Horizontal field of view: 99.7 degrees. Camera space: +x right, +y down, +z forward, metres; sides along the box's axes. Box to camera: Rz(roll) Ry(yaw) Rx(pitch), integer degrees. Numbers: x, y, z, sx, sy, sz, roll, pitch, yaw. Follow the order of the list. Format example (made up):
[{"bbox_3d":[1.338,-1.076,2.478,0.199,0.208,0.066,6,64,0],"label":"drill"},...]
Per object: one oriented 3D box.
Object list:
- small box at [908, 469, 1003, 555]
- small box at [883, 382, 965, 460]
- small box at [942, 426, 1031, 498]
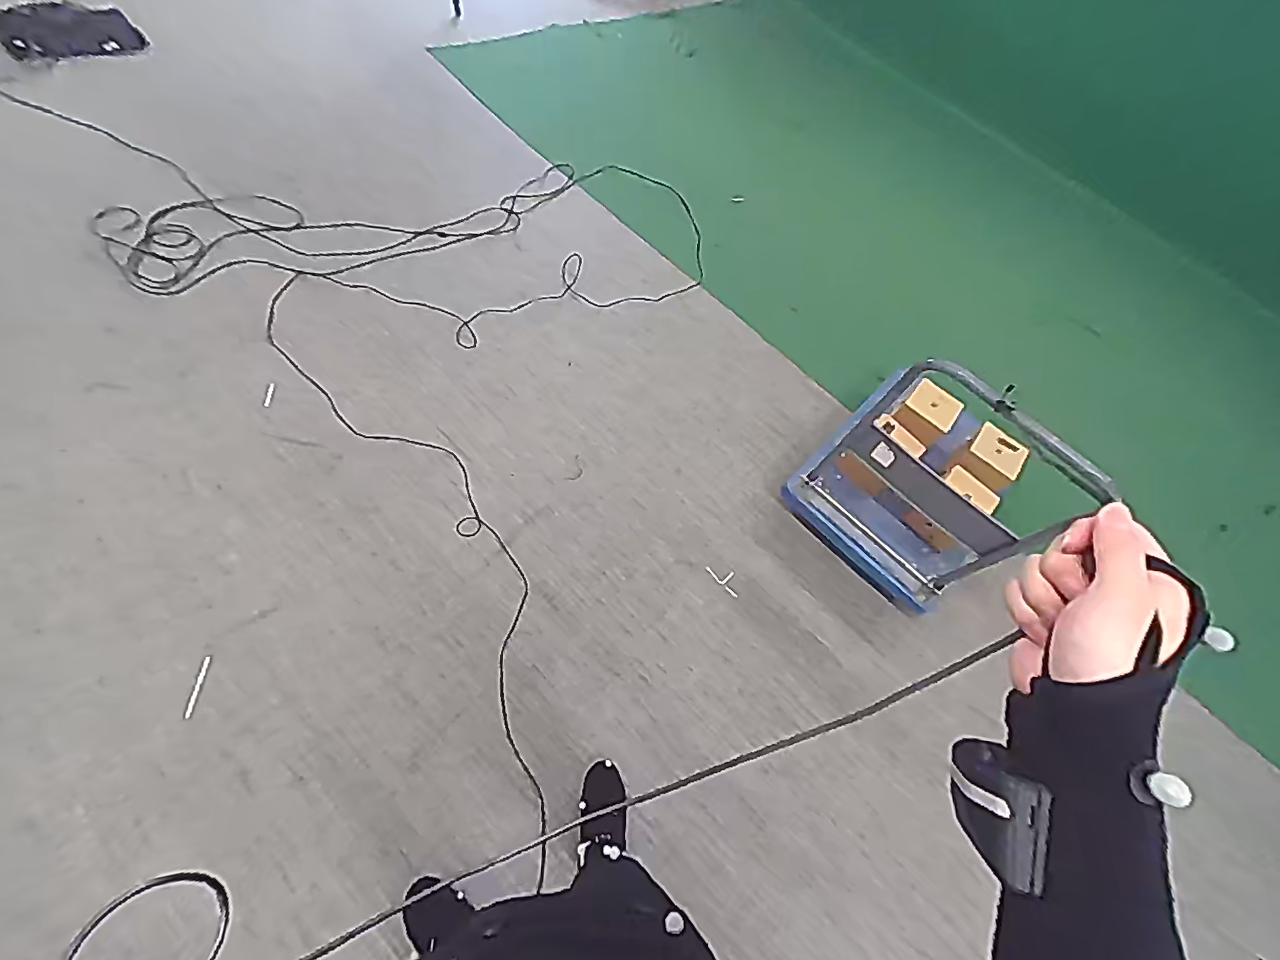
[{"bbox_3d":[0.993,0.104,1.718,0.179,0.176,0.168,-38,74,-28],"label":"small box"},{"bbox_3d":[0.987,-0.202,1.897,0.168,0.176,0.179,40,60,11],"label":"small box"},{"bbox_3d":[1.177,-0.045,1.847,0.168,0.176,0.179,40,61,12],"label":"small box"}]
